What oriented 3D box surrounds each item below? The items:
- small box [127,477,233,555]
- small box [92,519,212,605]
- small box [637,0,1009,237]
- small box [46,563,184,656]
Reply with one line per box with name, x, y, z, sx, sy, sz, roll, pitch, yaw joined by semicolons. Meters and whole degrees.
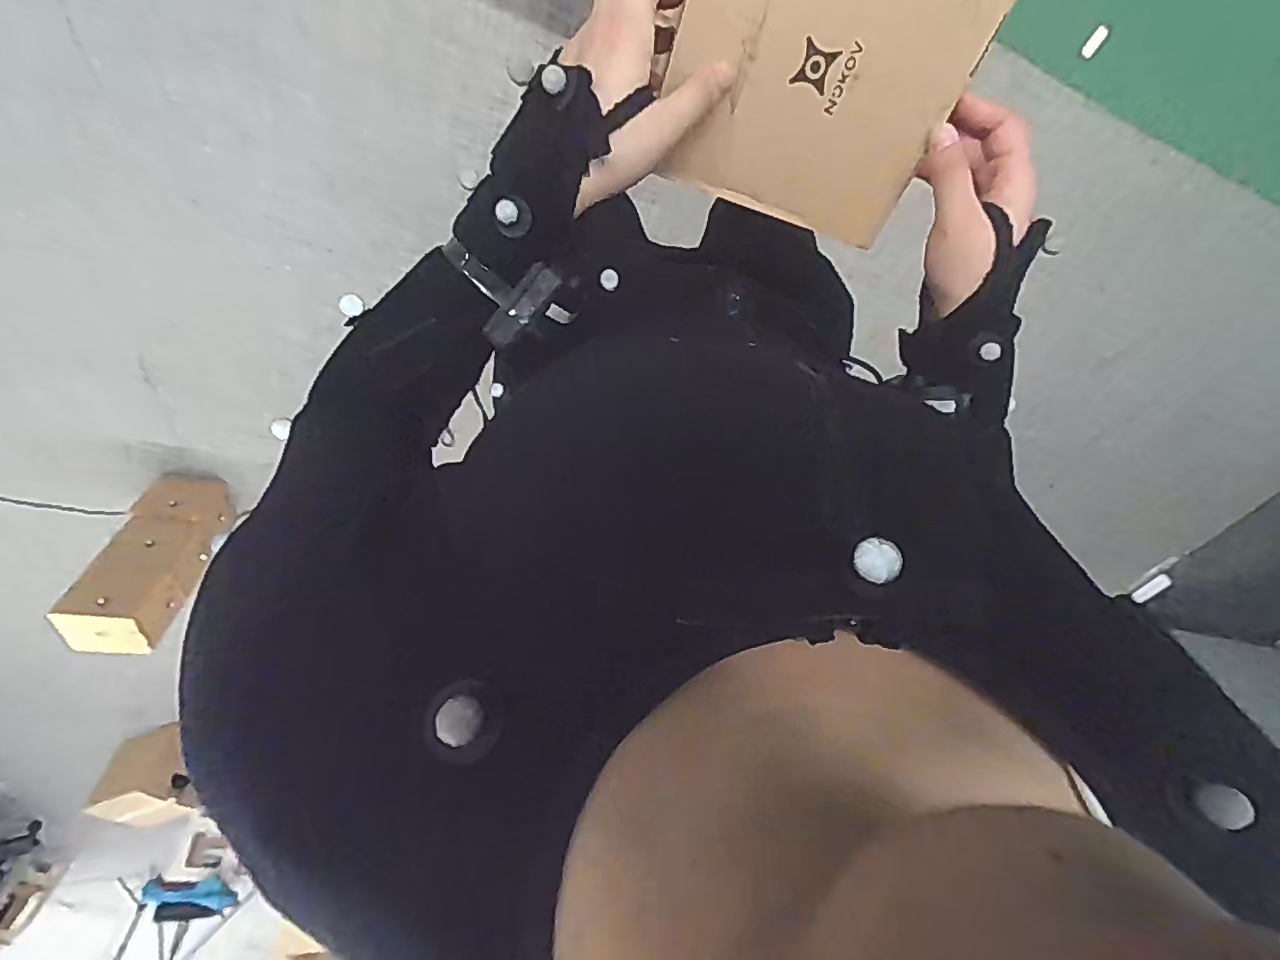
small box;-1.373;0.108;1.635;0.179;0.176;0.168;6;130;-10
small box;-1.362;0.230;1.524;0.179;0.176;0.168;9;130;-13
small box;0.105;-0.297;0.369;0.179;0.176;0.168;13;131;-9
small box;-1.345;0.333;1.400;0.179;0.176;0.168;8;130;-13
